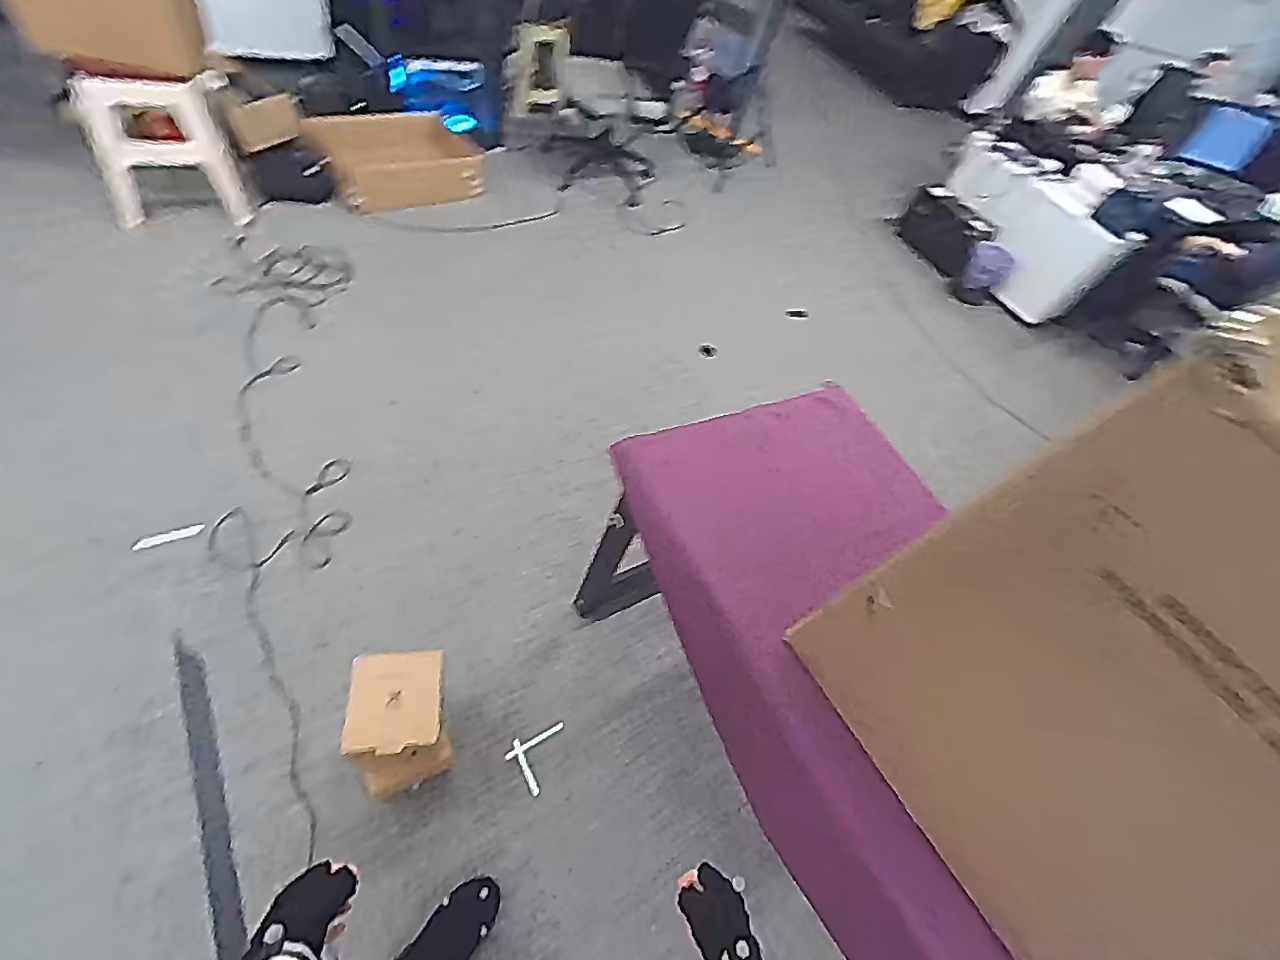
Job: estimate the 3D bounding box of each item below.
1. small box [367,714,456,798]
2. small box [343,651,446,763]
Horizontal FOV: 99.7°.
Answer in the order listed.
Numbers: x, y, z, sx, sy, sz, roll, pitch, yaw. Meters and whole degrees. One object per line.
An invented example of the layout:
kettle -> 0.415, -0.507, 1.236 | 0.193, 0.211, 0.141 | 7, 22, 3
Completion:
small box -> -0.518, 0.578, 1.205 | 0.168, 0.176, 0.179 | -16, 63, -27
small box -> -0.484, 0.461, 1.093 | 0.168, 0.176, 0.179 | 2, 54, -18
